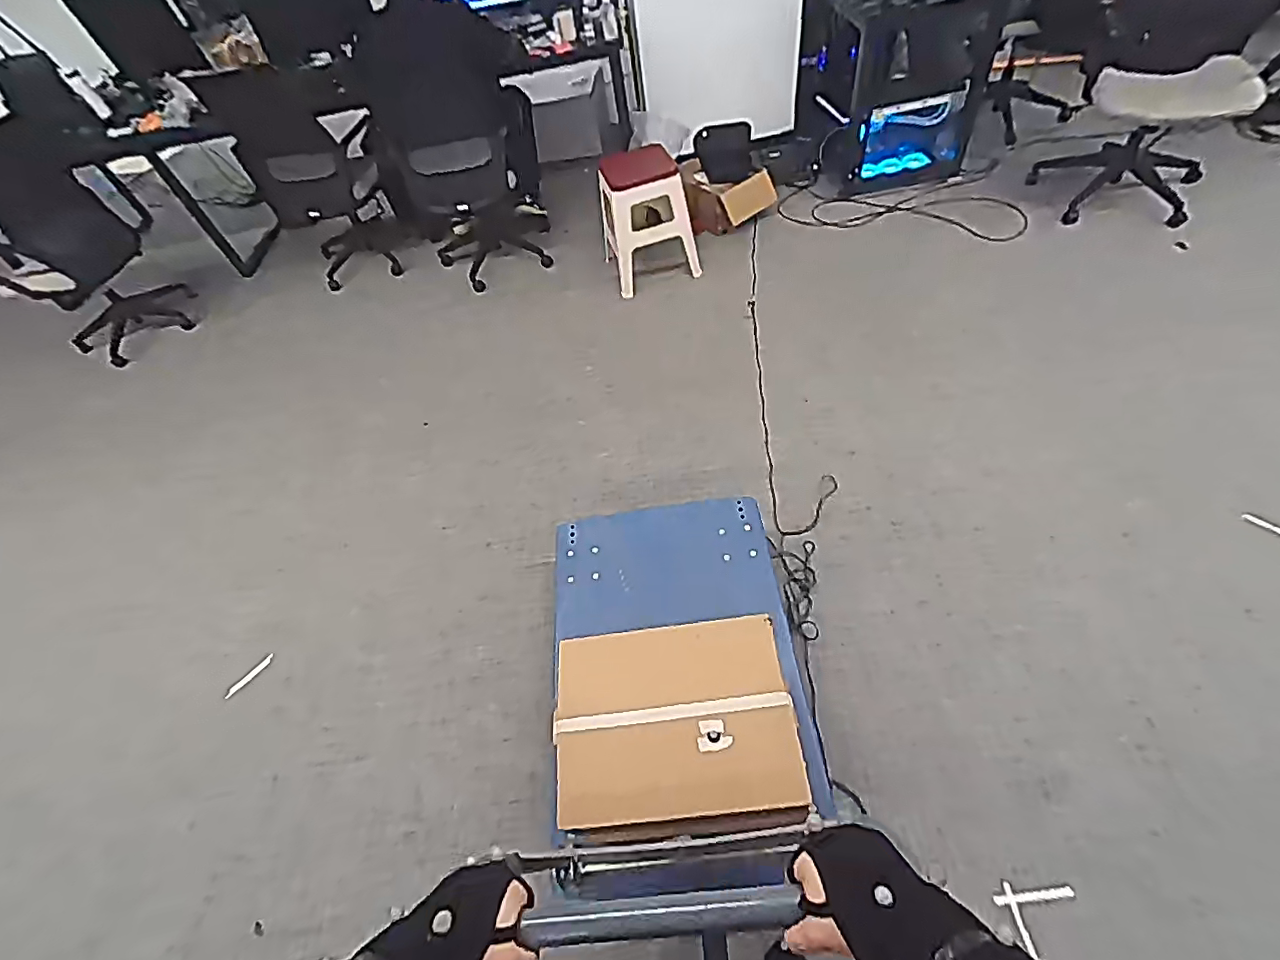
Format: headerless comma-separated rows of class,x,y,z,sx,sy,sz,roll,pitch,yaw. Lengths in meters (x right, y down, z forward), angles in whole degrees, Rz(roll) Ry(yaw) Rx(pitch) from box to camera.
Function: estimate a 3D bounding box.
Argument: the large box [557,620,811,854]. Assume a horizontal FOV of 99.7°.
large box,0.072,0.500,1.036,0.408,0.320,0.320,-9,53,3
